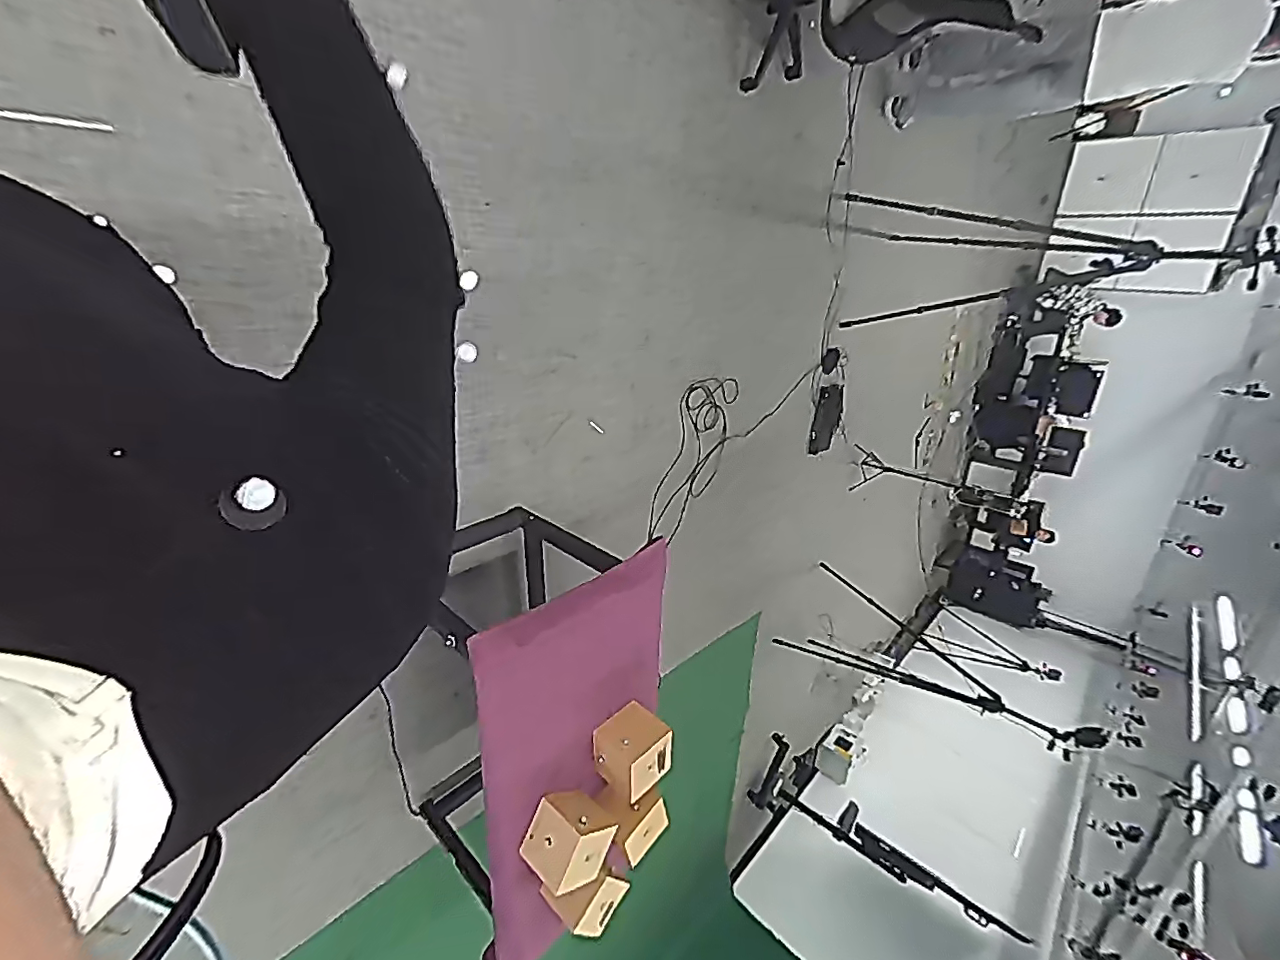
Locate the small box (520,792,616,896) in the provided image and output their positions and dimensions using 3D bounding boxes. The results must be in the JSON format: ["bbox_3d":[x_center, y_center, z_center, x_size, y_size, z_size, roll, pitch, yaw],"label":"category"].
[{"bbox_3d":[-0.206,1.020,1.532,0.179,0.176,0.168,30,82,-52],"label":"small box"}]

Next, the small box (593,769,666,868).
[{"bbox_3d":[-0.044,1.092,1.757,0.179,0.176,0.168,-36,129,-34],"label":"small box"}]

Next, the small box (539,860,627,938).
[{"bbox_3d":[-0.177,1.264,1.673,0.168,0.176,0.179,-52,136,-22],"label":"small box"}]
